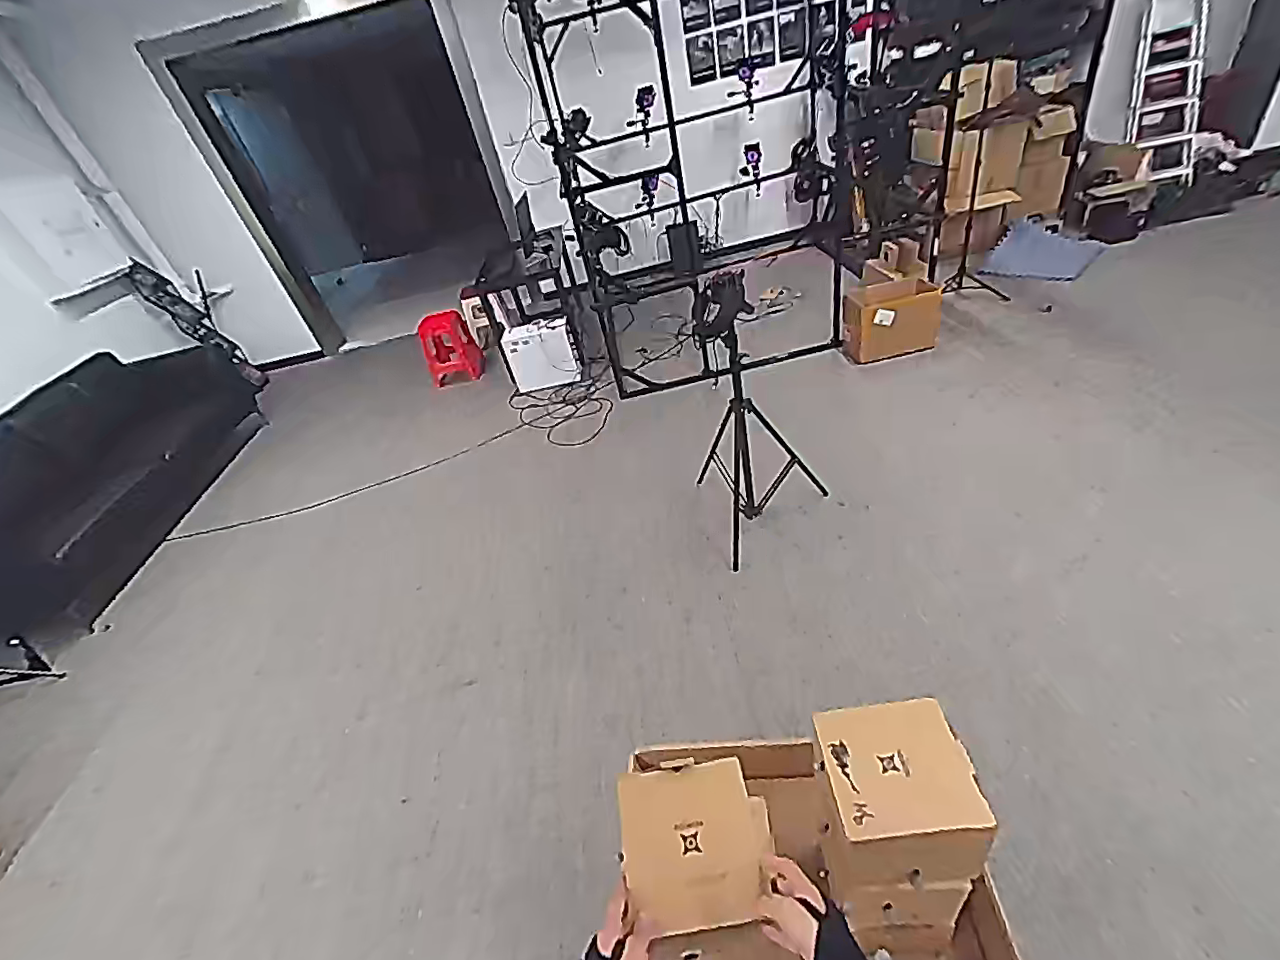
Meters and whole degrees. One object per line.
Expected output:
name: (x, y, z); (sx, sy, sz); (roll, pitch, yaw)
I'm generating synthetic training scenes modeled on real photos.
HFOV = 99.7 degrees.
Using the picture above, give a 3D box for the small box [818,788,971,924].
small box: (0.377, 0.556, 0.831); (0.168, 0.176, 0.179); (-9, 36, 8)

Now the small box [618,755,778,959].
small box: (0.063, 0.487, 0.692); (0.168, 0.176, 0.179); (-7, 40, -3)

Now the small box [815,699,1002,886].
small box: (0.345, 0.426, 0.737); (0.179, 0.176, 0.168); (-9, 35, 6)
